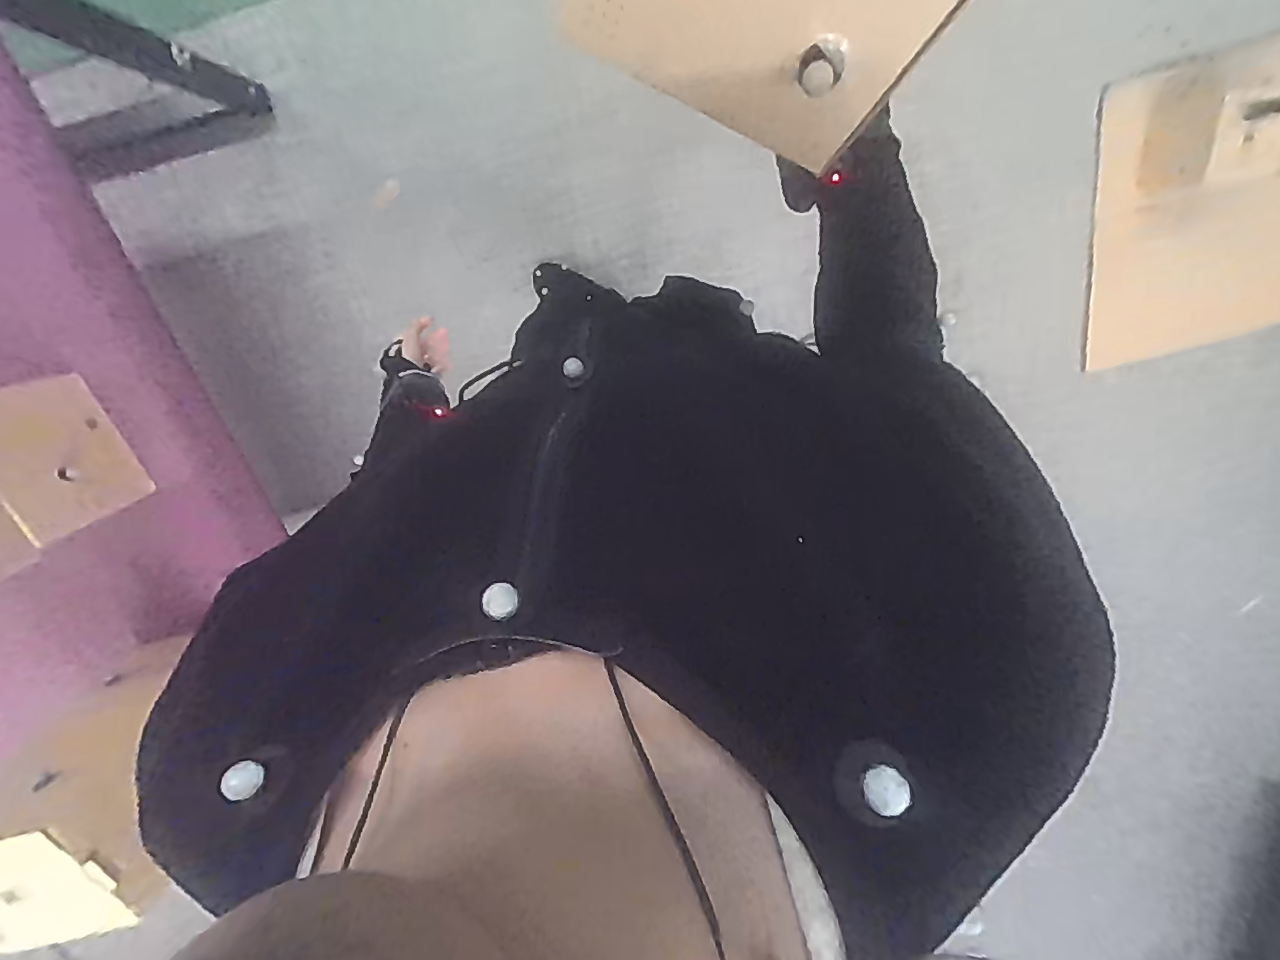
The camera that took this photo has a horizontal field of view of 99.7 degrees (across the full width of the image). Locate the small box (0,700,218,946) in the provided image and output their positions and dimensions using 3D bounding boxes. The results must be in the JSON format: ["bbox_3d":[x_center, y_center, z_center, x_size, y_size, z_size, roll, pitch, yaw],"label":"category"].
[{"bbox_3d":[-0.648,0.388,0.632,0.179,0.176,0.168,-14,113,1],"label":"small box"}]

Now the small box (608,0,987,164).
[{"bbox_3d":[0.085,-0.306,0.252,0.176,0.168,0.179,15,153,-20],"label":"small box"}]

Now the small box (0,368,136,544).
[{"bbox_3d":[-0.757,-0.020,0.631,0.179,0.176,0.168,-15,113,4],"label":"small box"}]
